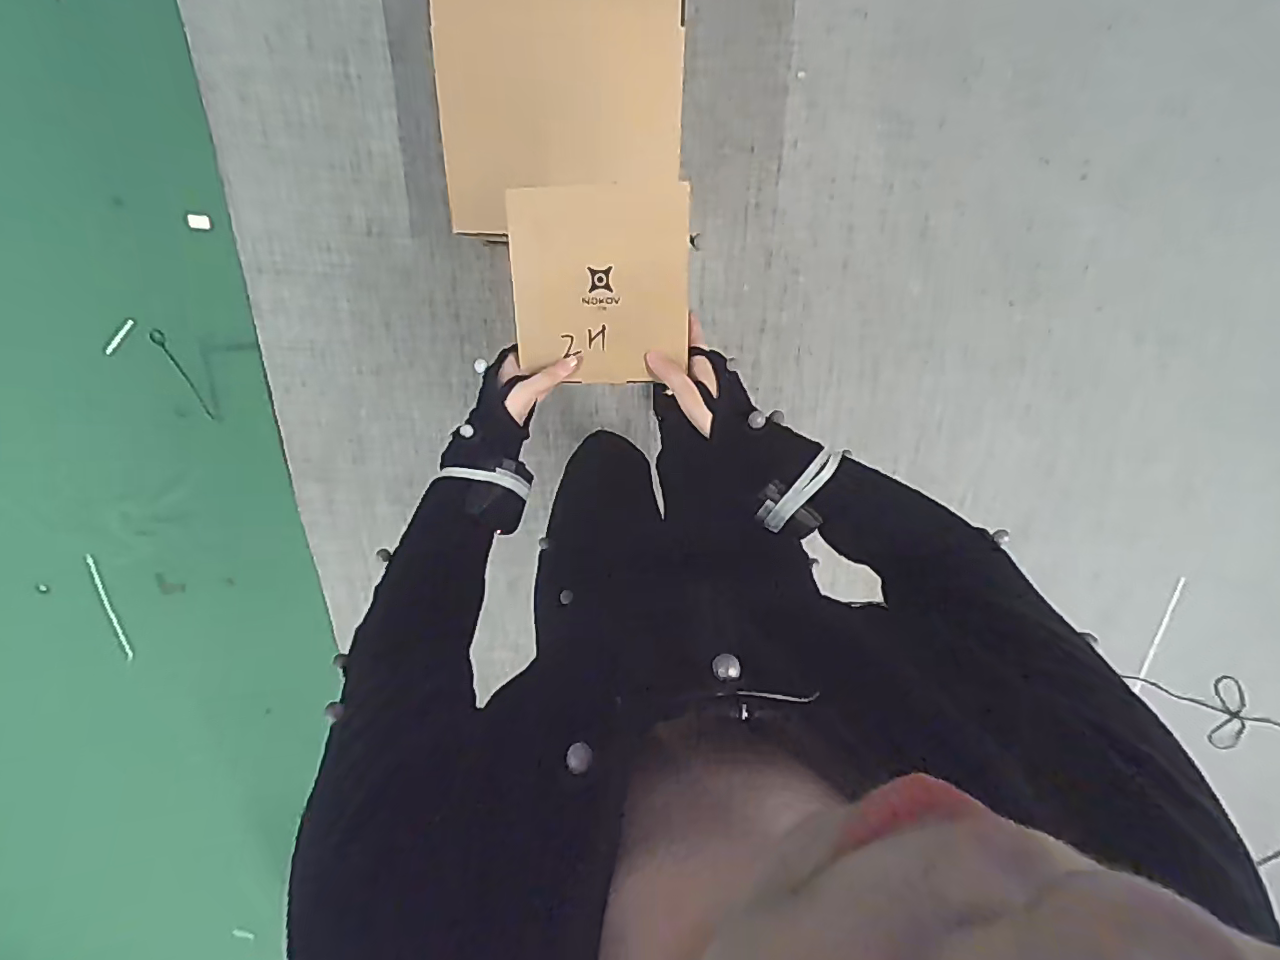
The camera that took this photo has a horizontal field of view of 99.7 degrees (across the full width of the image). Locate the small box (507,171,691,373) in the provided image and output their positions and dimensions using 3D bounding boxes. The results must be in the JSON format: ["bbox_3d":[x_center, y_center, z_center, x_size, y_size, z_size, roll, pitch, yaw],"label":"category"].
[{"bbox_3d":[-0.031,-0.213,0.578,0.168,0.176,0.179,1,110,6],"label":"small box"}]
